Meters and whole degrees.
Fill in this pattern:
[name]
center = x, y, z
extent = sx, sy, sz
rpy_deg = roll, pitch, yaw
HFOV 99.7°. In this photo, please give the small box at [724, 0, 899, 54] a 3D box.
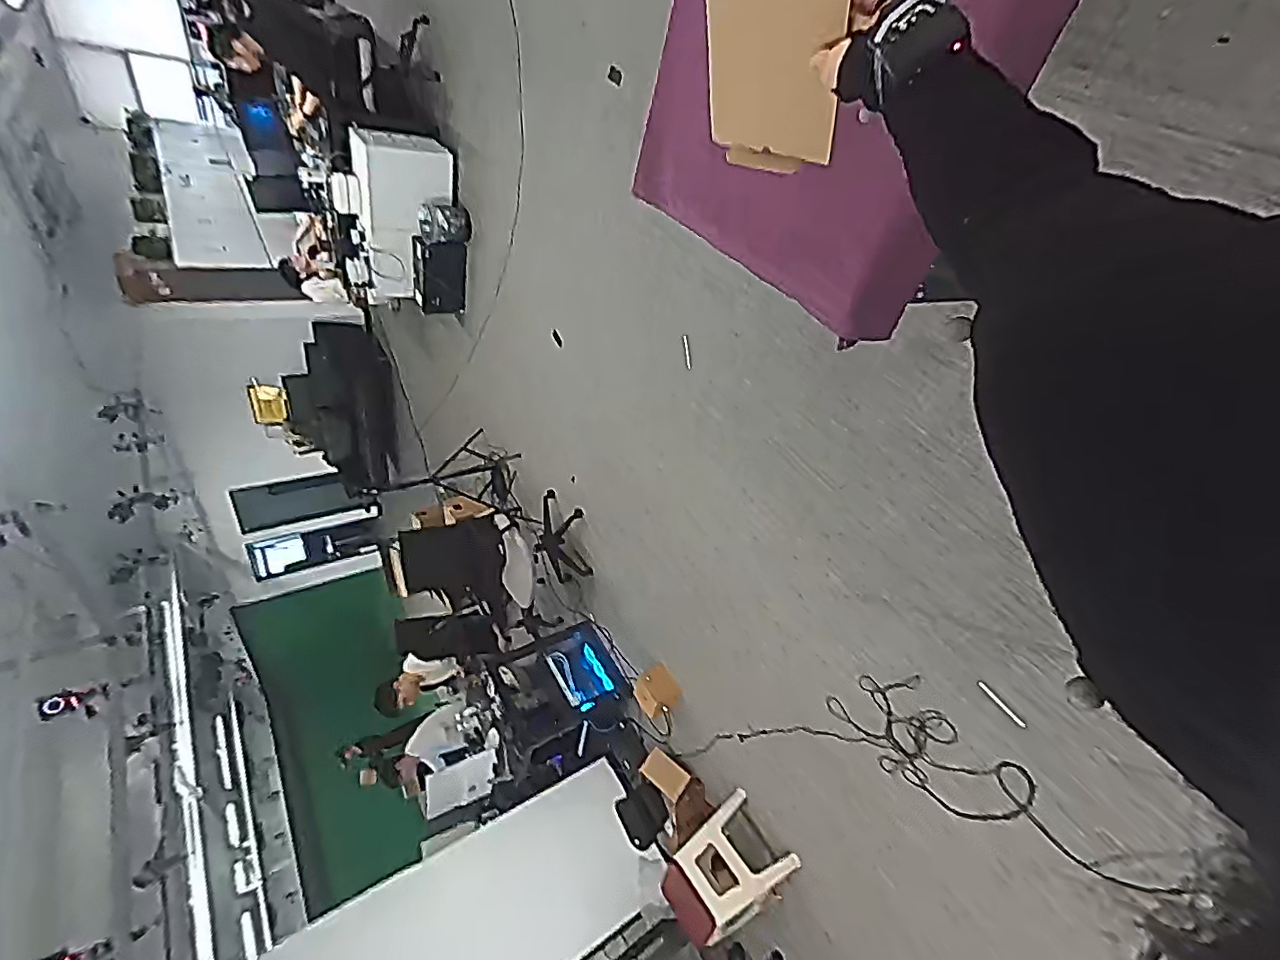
[small box]
center = 0.195, -0.590, 0.571
extent = 0.168, 0.176, 0.179
rpy_deg = 28, 113, 27
